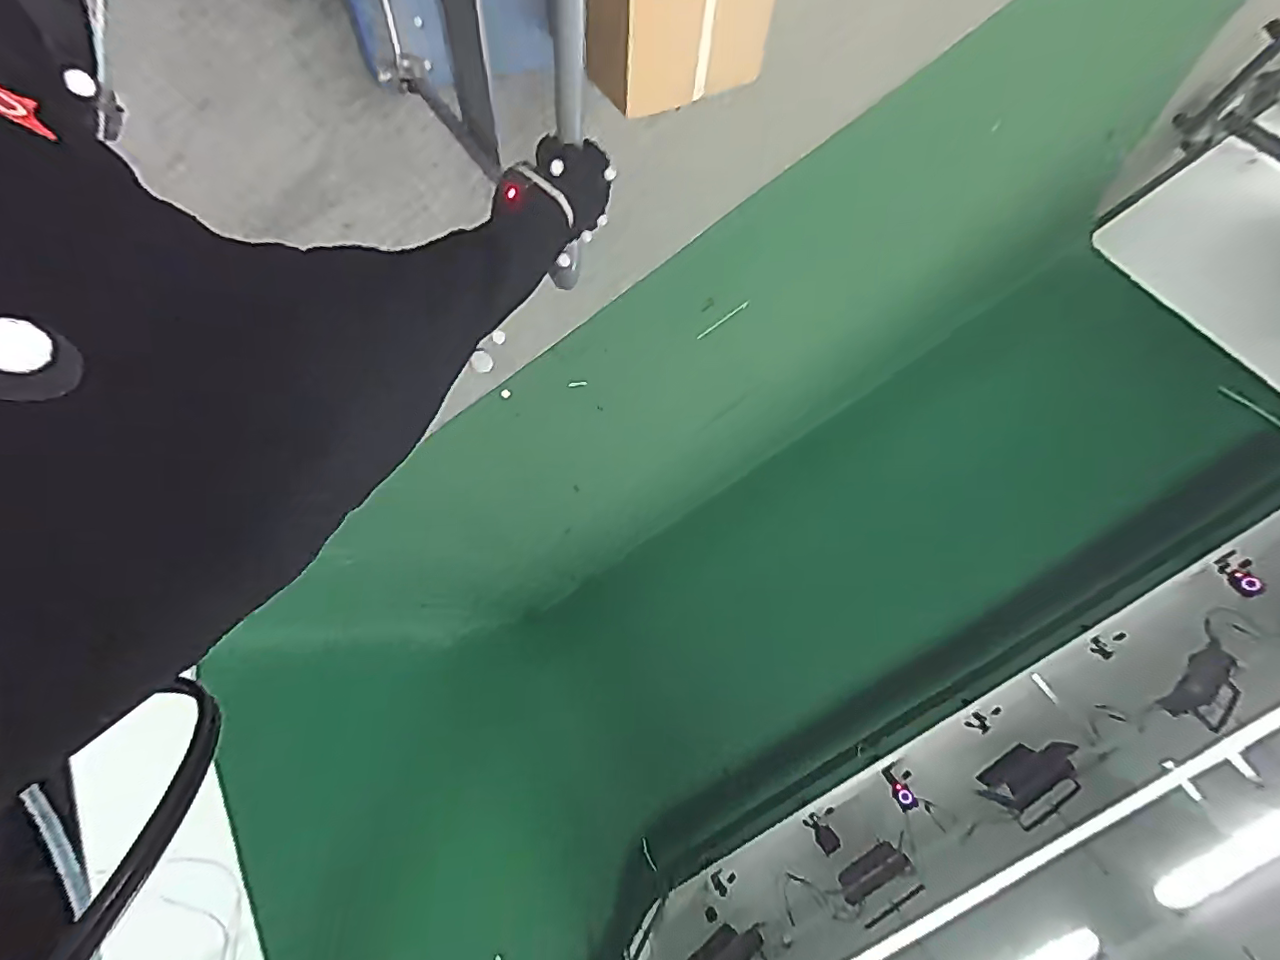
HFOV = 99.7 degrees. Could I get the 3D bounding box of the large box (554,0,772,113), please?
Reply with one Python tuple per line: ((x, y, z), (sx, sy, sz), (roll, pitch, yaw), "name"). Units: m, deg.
((0.037, -0.958, 0.933), (0.320, 0.320, 0.408), (-28, 158, -15), "large box")
